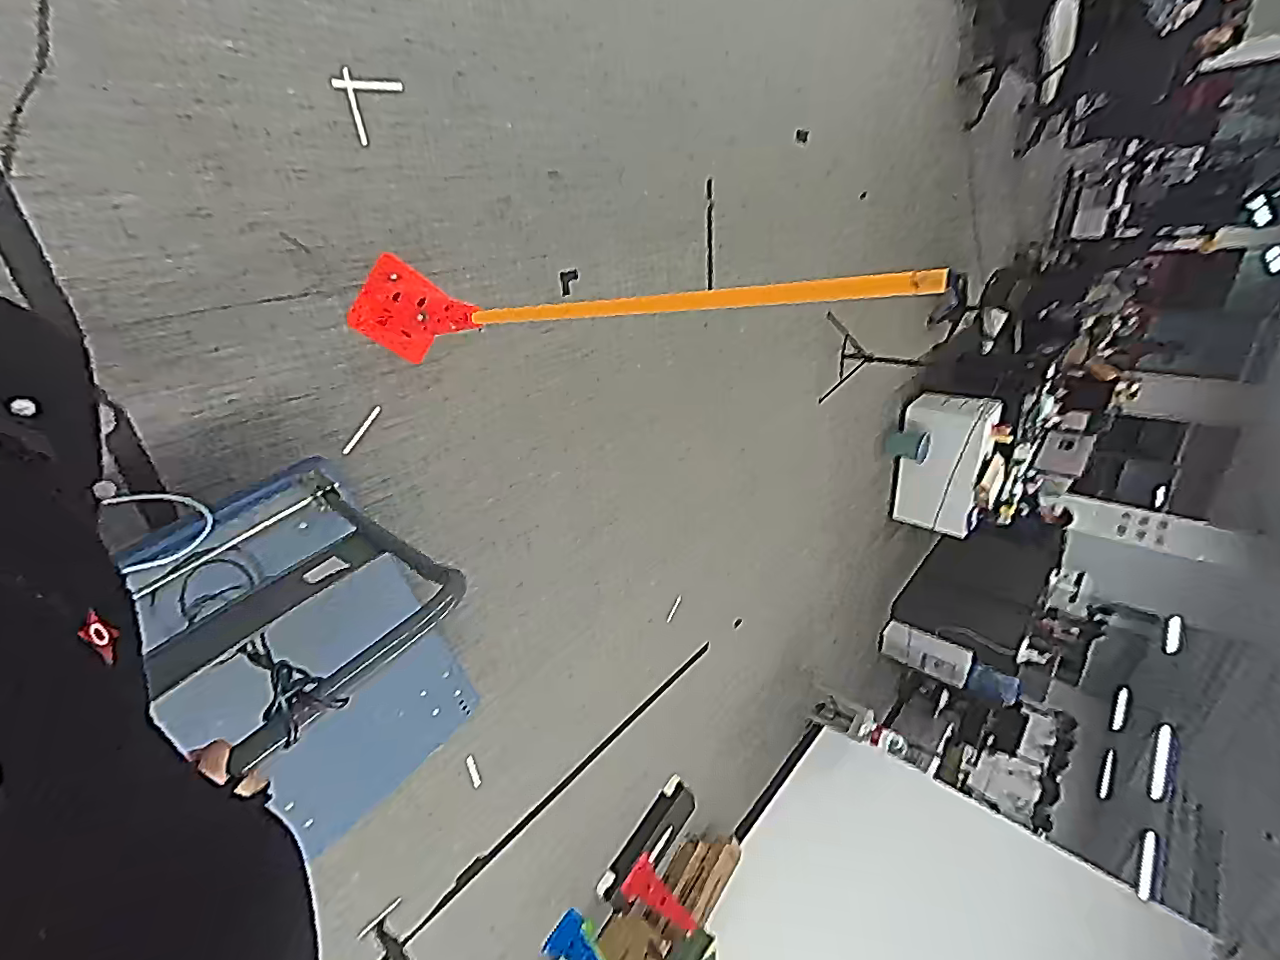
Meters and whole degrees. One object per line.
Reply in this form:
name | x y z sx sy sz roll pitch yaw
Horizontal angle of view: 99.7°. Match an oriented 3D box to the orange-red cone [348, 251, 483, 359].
orange-red cone | -0.456 -0.375 1.200 0.198 0.360 0.199 34 80 -48
